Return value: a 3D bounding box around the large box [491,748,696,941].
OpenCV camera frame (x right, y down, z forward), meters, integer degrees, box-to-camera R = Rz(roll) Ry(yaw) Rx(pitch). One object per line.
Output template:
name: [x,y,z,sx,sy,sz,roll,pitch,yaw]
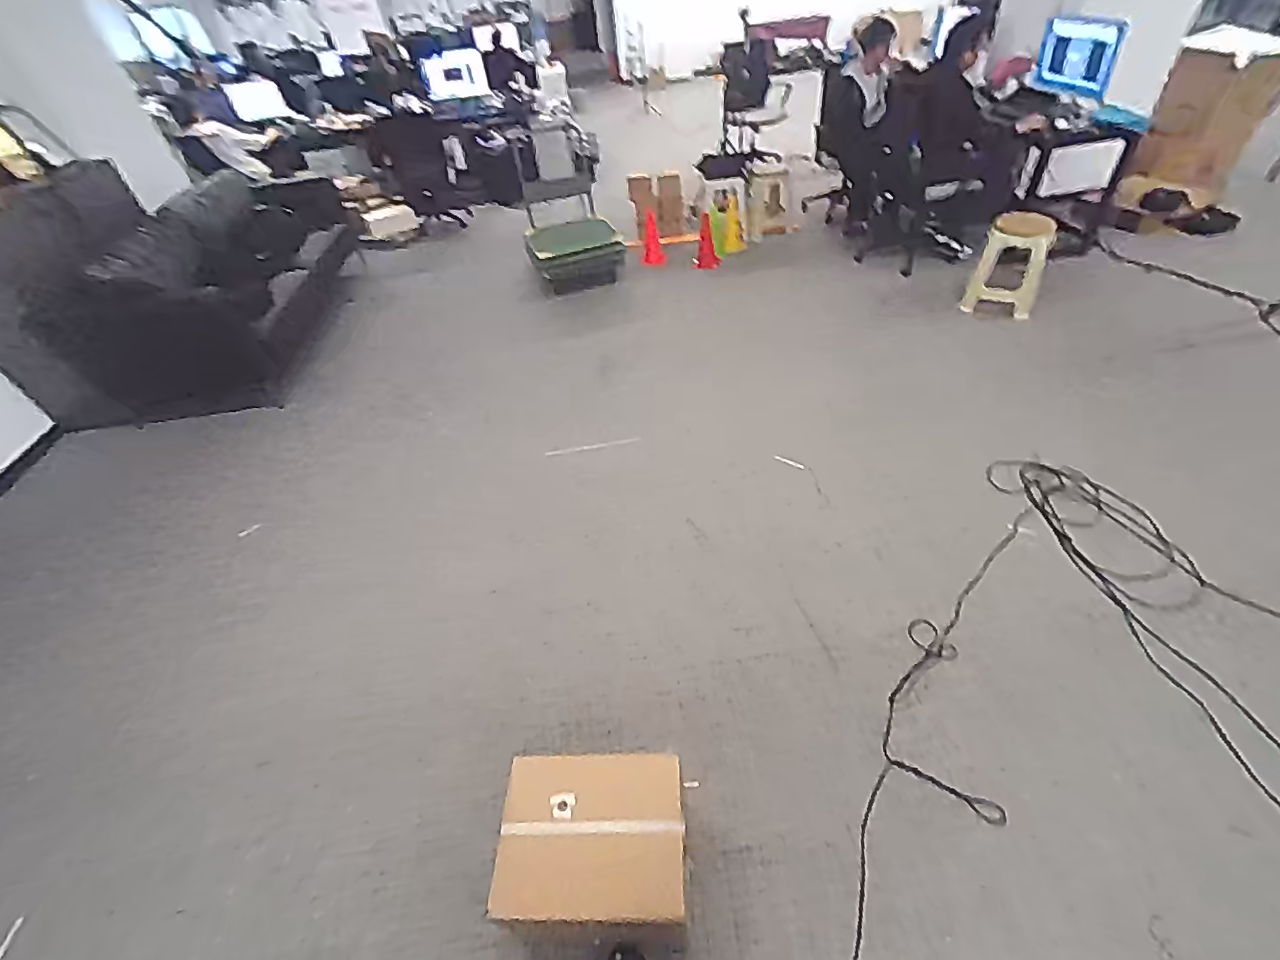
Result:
large box: [-0.088,0.867,1.281,0.408,0.320,0.320,-5,41,4]
